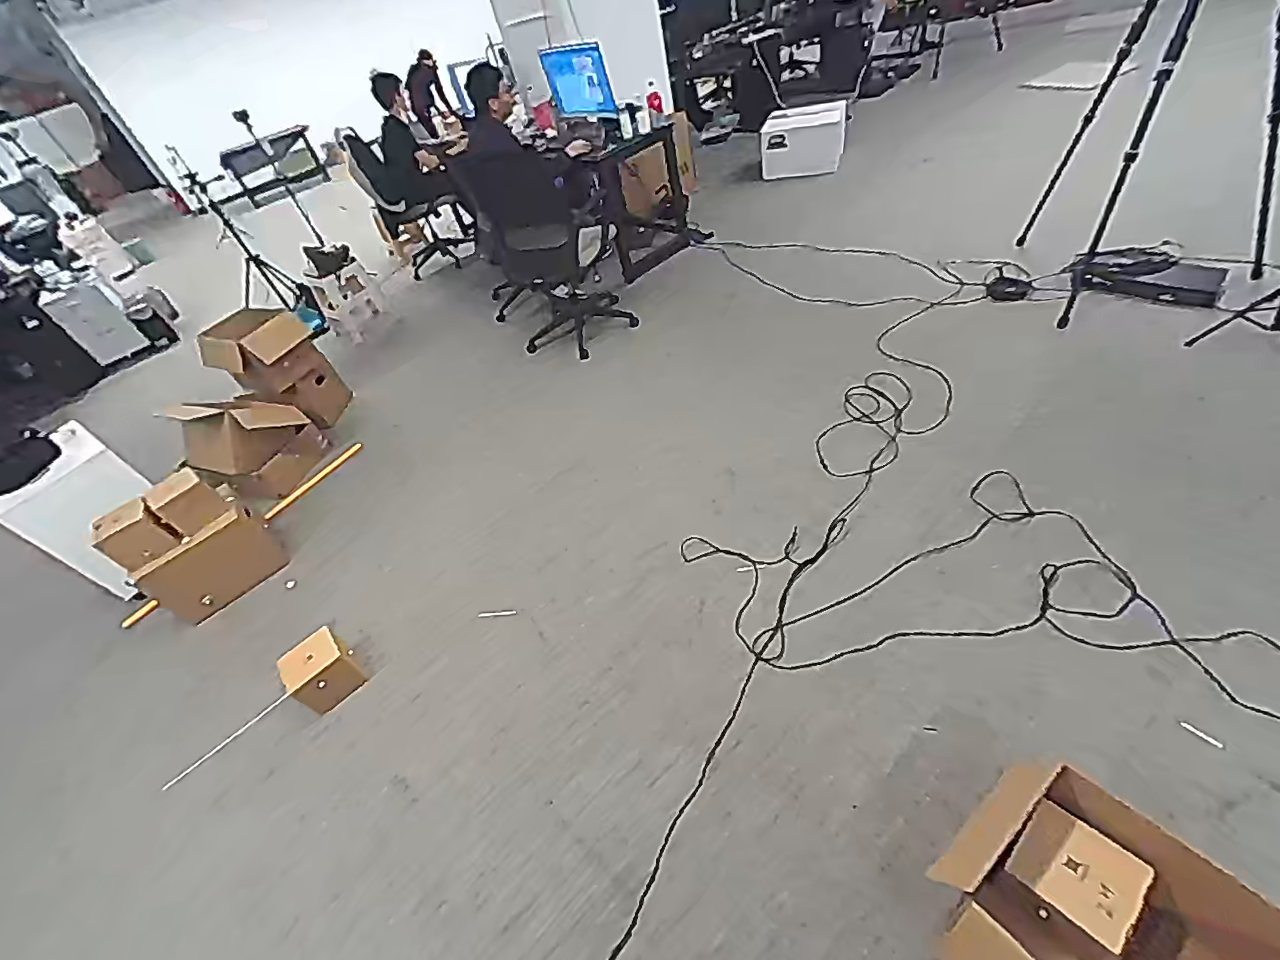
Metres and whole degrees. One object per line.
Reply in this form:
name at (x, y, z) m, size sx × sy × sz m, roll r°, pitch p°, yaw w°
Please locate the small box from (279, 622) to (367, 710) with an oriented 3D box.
small box at (-1.026, 0.609, 1.768) m, size 0.179 × 0.176 × 0.168 m, roll -40°, pitch 49°, yaw -20°
